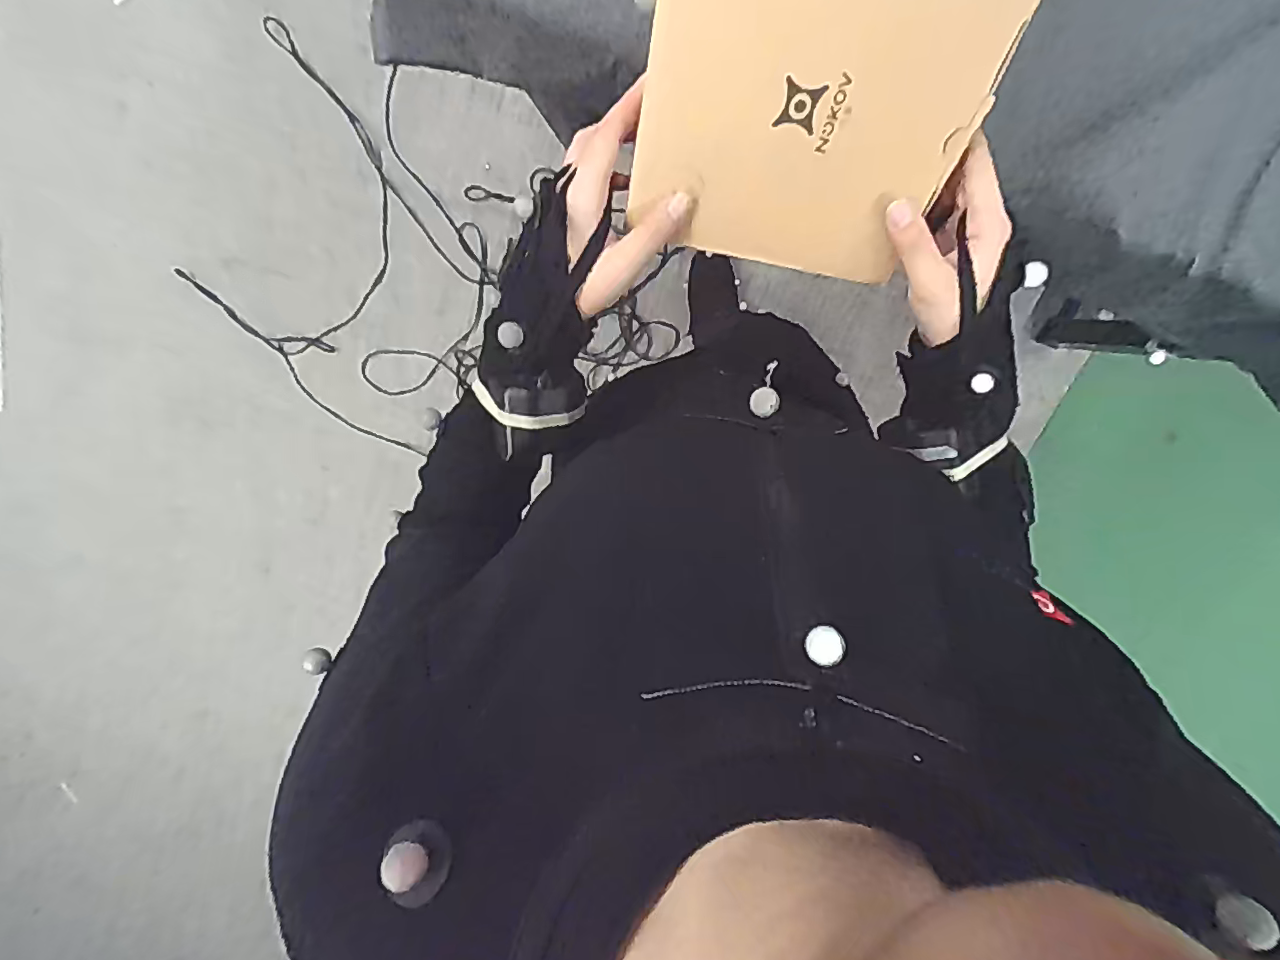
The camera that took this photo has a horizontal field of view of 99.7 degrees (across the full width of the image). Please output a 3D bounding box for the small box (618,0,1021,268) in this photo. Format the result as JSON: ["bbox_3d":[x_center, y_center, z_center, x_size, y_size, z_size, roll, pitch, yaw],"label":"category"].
[{"bbox_3d":[0.090,-0.260,0.336,0.179,0.176,0.168,9,135,-4],"label":"small box"}]
